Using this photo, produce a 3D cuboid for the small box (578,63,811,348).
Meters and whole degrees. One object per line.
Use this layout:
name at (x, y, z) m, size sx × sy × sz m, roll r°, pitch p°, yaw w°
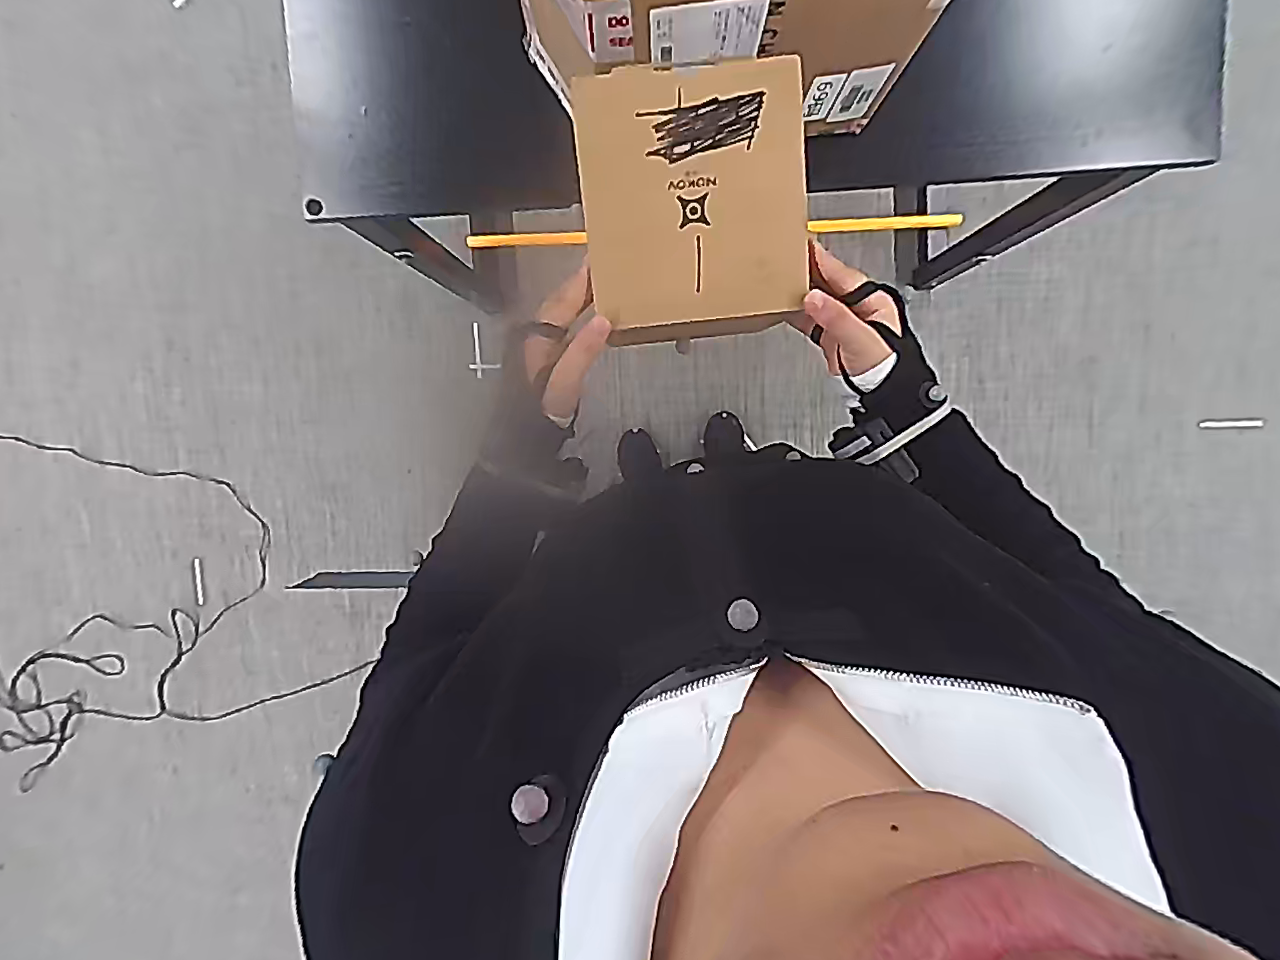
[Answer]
small box at (0.040, -0.219, 0.478) m, size 0.168 × 0.176 × 0.179 m, roll -6°, pitch 100°, yaw 0°
